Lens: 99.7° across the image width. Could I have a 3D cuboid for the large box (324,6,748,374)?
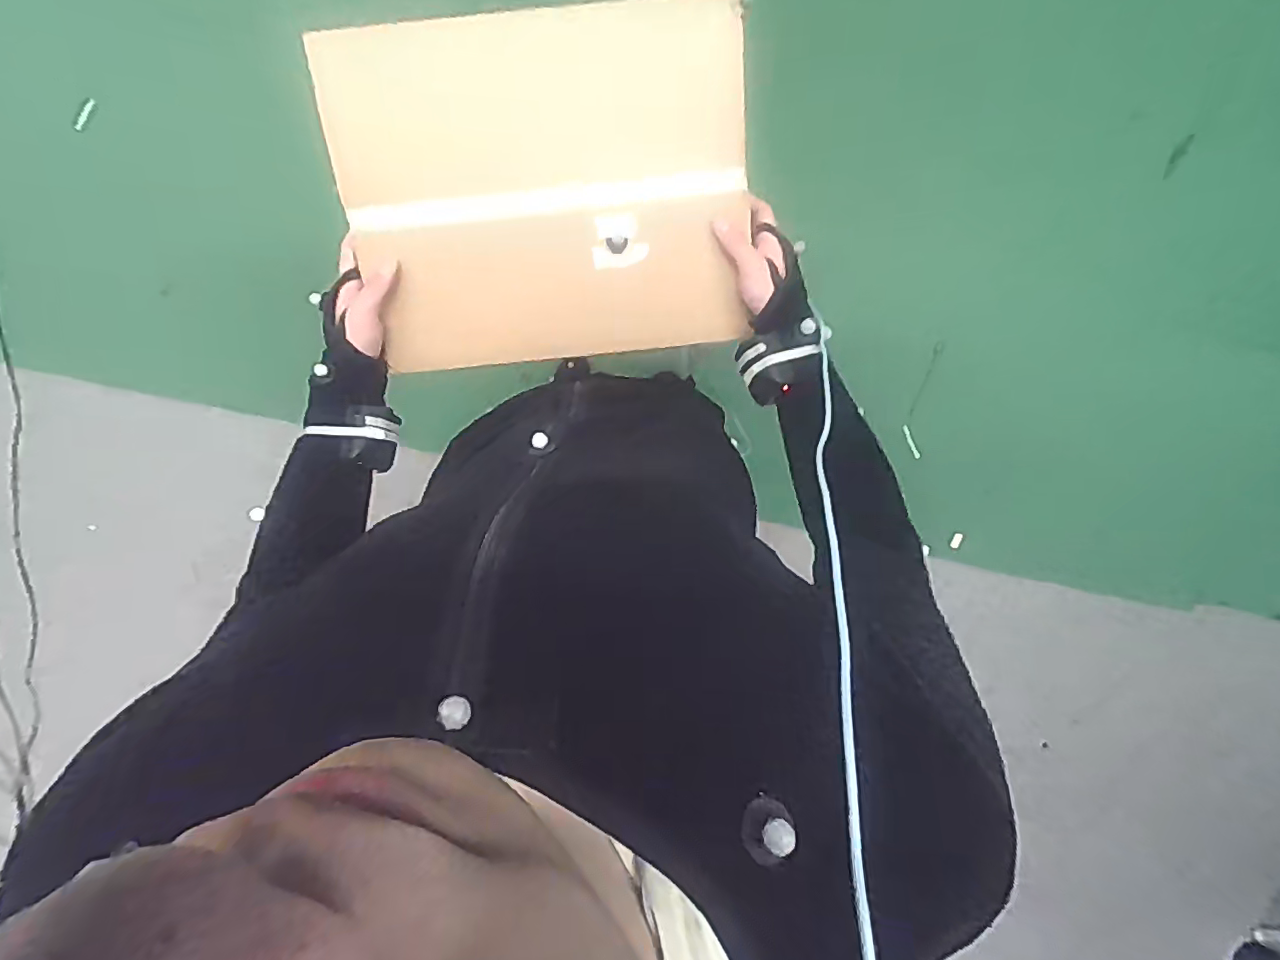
[{"bbox_3d":[-0.098,-0.331,0.700,0.408,0.320,0.320,-6,110,-1],"label":"large box"}]
